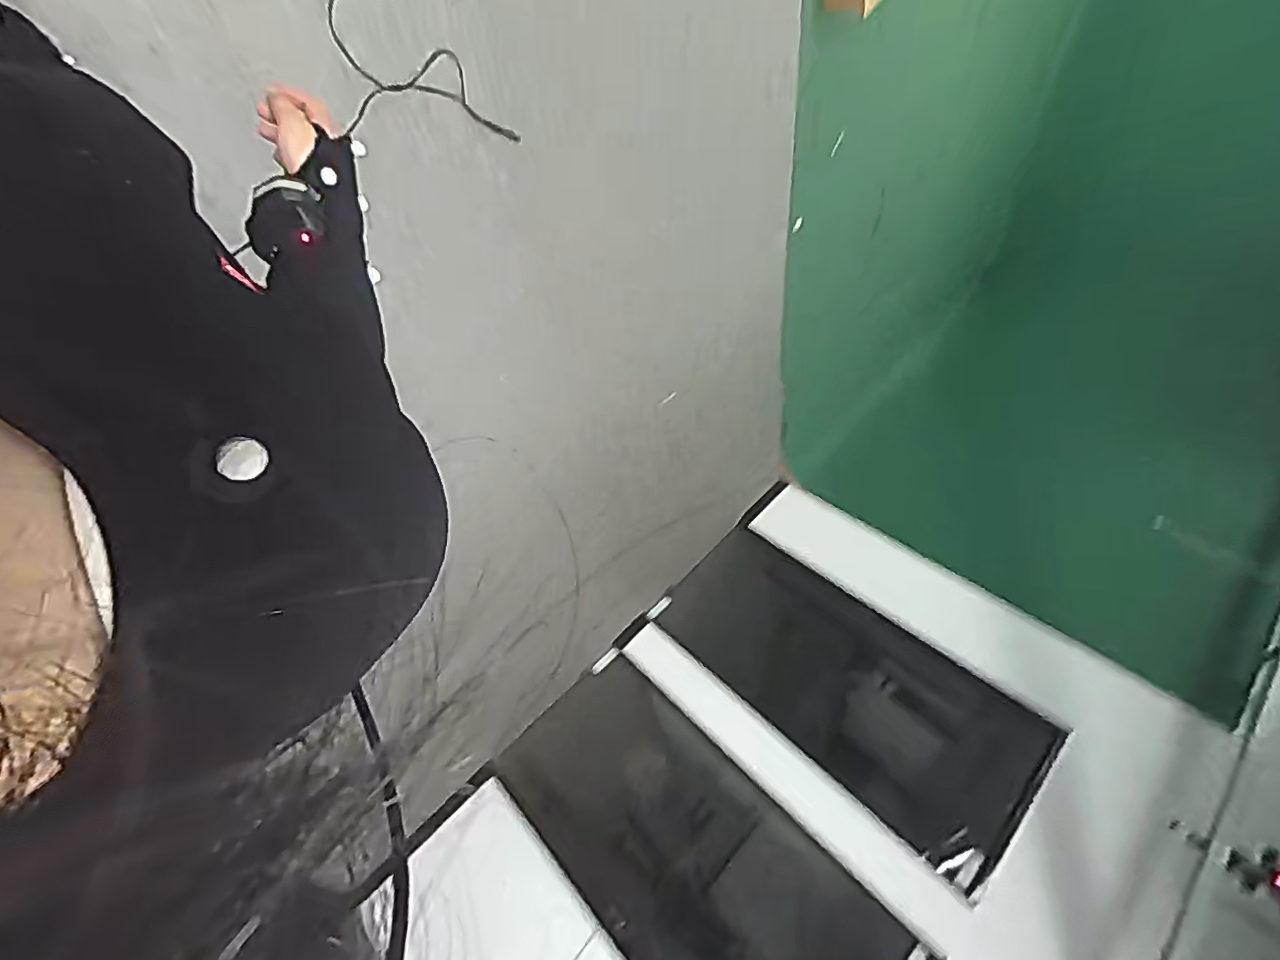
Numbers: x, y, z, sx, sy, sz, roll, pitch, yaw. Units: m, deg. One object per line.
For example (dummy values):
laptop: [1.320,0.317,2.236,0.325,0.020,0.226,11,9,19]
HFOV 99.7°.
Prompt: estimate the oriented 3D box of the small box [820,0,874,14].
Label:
small box: [0.760,-1.818,1.939,0.168,0.176,0.179,-49,147,-9]
